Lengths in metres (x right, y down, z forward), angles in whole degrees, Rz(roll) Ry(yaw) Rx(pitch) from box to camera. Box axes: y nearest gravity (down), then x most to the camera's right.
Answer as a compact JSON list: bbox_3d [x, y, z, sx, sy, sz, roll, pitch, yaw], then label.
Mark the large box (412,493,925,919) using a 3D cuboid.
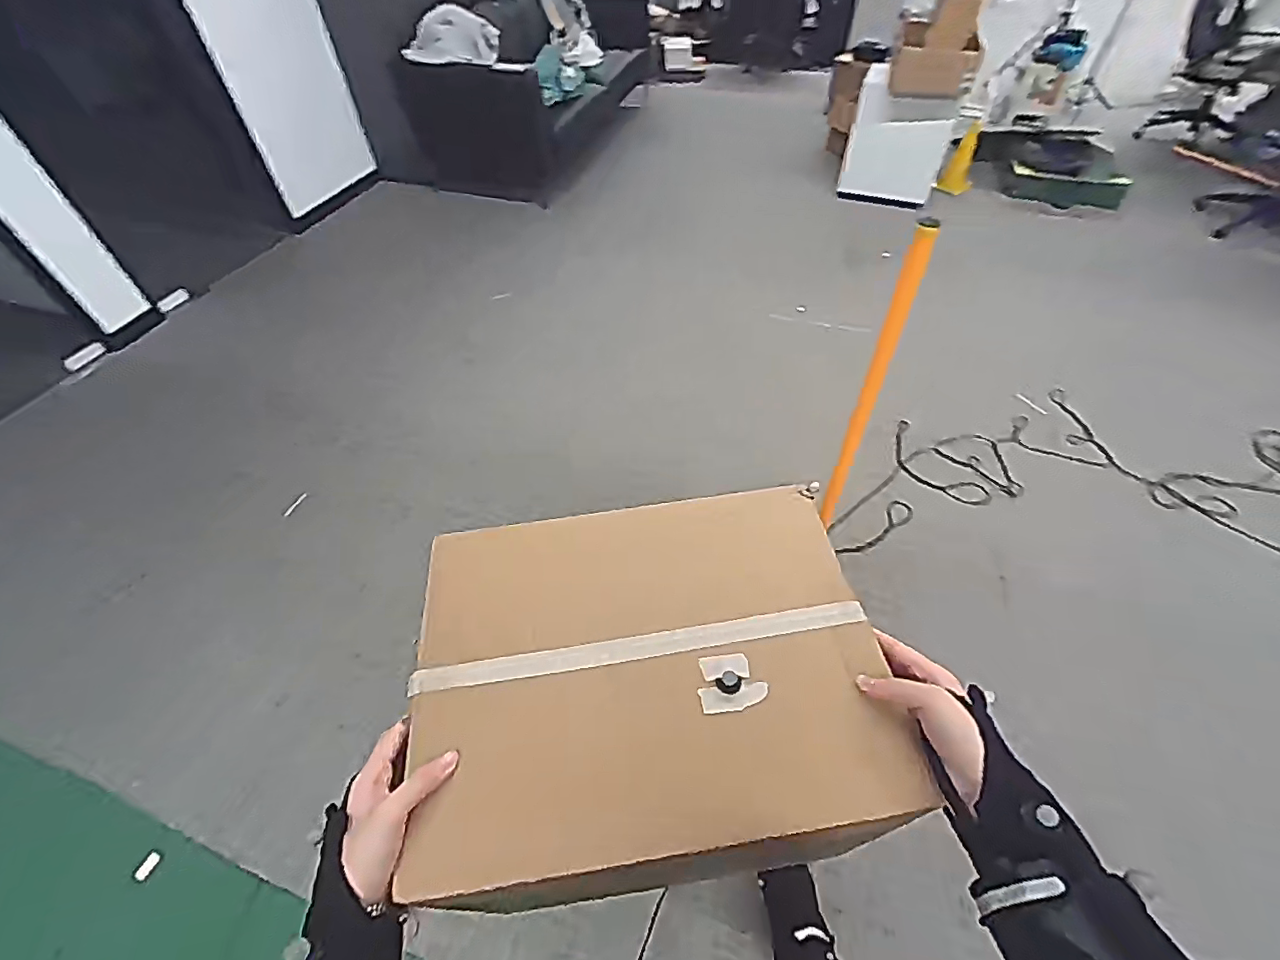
[{"bbox_3d":[0.007,0.254,0.609,0.408,0.320,0.320,-8,50,-5],"label":"large box"}]
